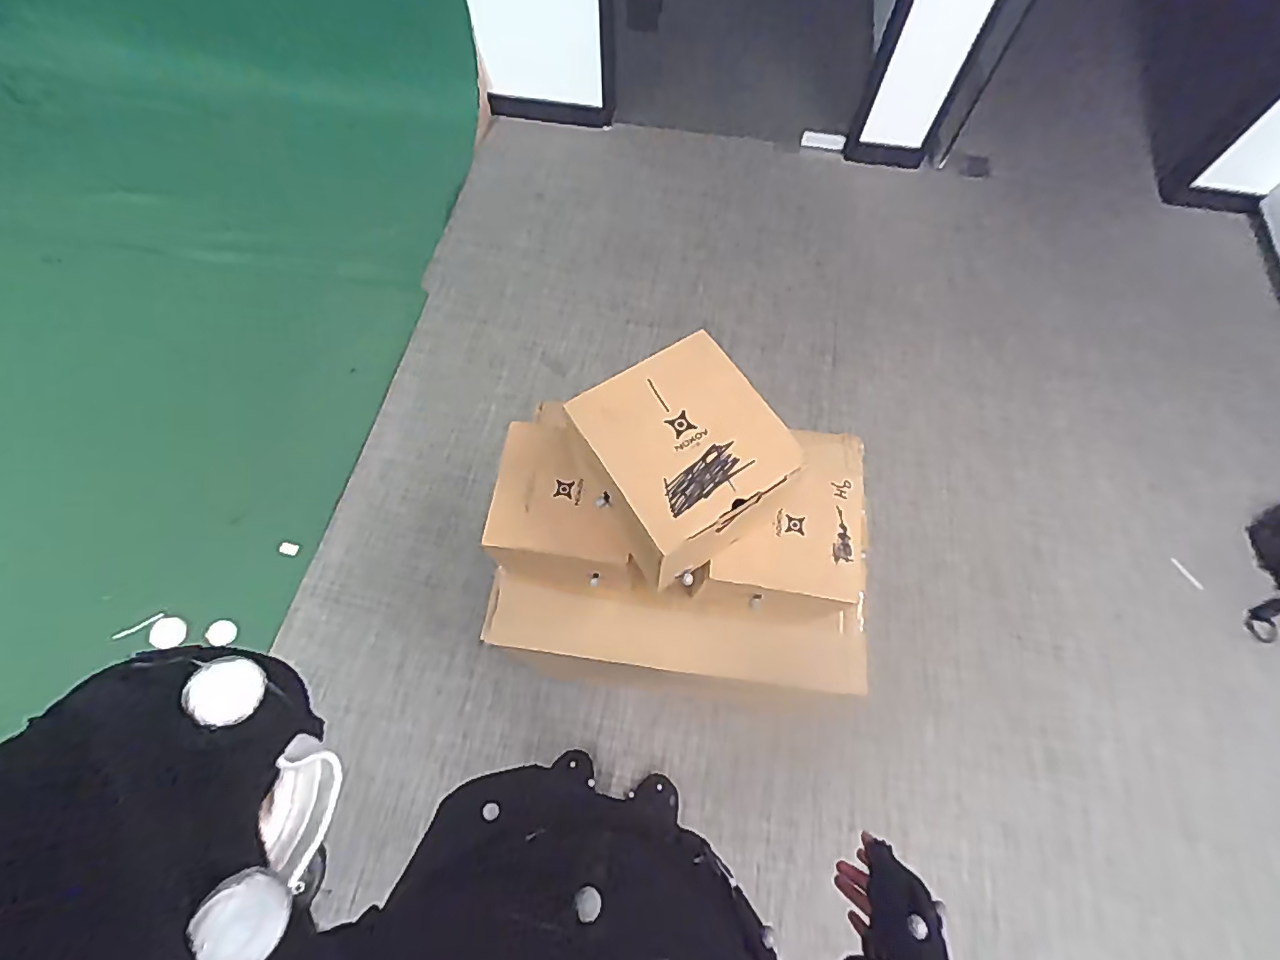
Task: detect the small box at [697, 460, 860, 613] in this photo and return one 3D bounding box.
[{"bbox_3d":[0.176,0.076,0.722,0.179,0.176,0.168,9,70,4],"label":"small box"}]

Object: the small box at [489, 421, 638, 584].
[{"bbox_3d":[-0.083,0.039,0.732,0.179,0.176,0.168,6,67,2],"label":"small box"}]

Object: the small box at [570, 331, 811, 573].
[{"bbox_3d":[0.046,-0.016,0.579,0.168,0.176,0.179,-31,71,-12],"label":"small box"}]
